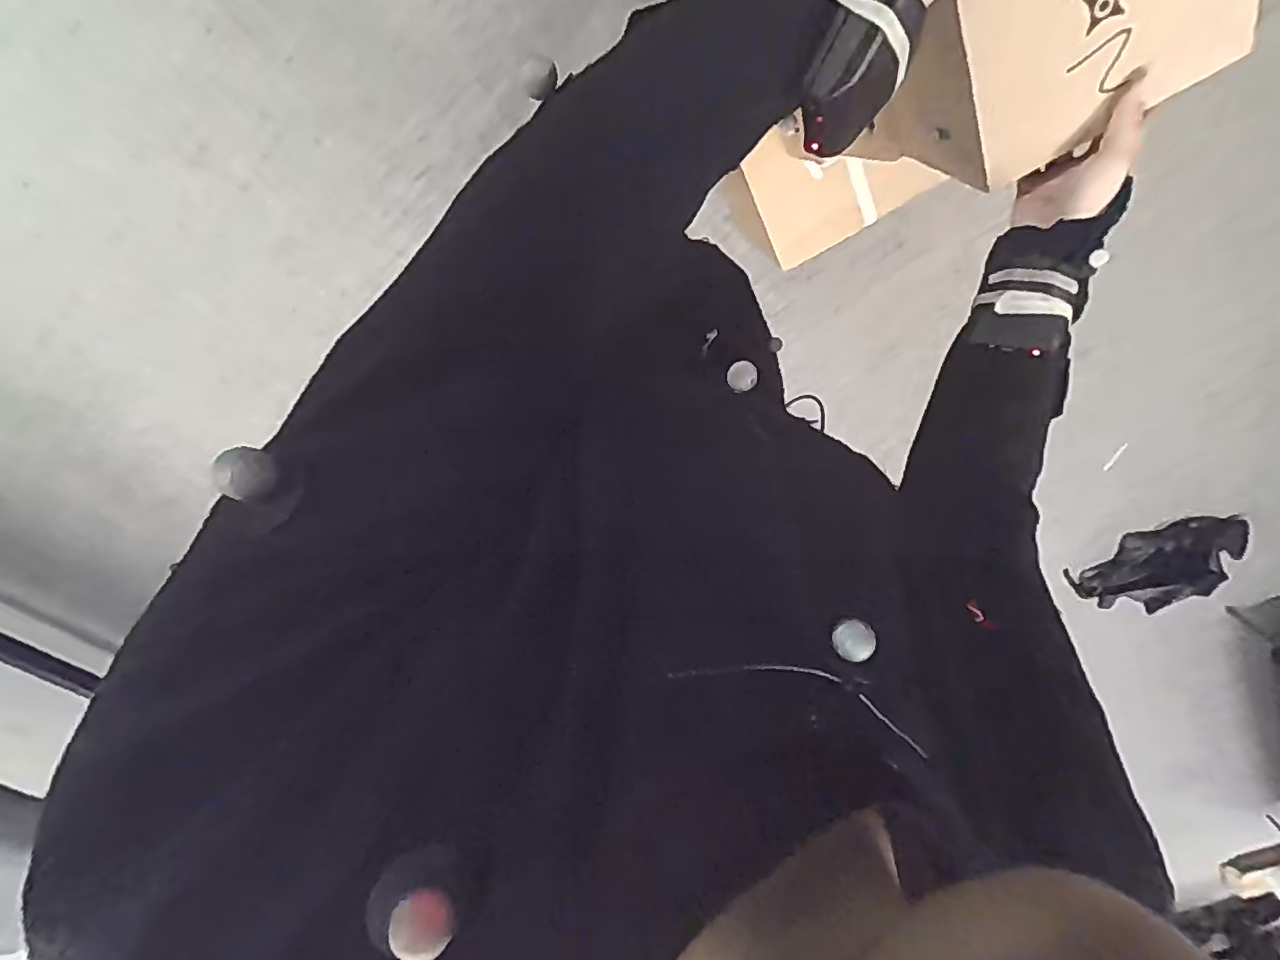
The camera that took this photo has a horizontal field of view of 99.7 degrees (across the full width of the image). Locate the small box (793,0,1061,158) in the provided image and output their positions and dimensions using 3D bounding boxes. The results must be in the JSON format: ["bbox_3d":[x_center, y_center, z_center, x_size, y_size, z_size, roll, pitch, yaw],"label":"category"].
[{"bbox_3d":[0.278,-0.460,0.550,0.168,0.176,0.179,-27,122,13],"label":"small box"}]

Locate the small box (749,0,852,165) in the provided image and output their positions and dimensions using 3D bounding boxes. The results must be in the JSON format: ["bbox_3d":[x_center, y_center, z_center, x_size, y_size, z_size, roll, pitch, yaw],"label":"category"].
[{"bbox_3d":[0.259,-0.539,0.692,0.168,0.176,0.179,-27,120,12],"label":"small box"}]

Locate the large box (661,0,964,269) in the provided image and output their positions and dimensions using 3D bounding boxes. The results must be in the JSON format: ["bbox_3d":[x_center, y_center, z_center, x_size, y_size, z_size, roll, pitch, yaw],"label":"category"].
[{"bbox_3d":[0.273,-0.647,0.912,0.320,0.320,0.408,-27,122,15],"label":"large box"}]
